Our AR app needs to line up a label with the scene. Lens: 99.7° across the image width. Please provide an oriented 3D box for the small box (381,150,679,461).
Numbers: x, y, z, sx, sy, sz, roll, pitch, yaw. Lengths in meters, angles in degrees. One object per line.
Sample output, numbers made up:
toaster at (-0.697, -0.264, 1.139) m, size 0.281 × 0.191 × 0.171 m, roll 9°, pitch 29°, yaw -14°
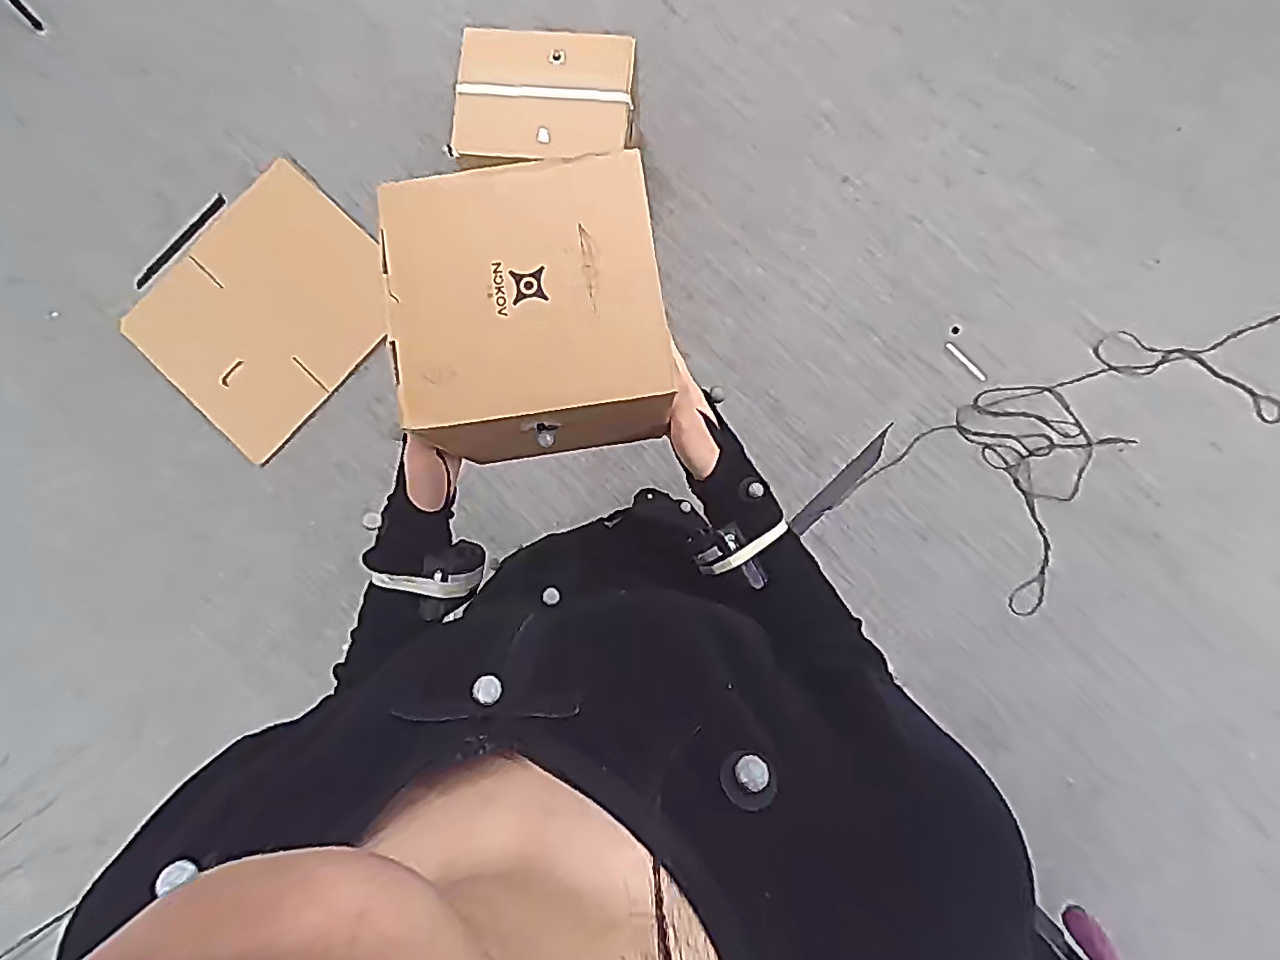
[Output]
small box at (-0.071, -0.114, 0.423) m, size 0.179 × 0.176 × 0.168 m, roll -9°, pitch 85°, yaw -1°
